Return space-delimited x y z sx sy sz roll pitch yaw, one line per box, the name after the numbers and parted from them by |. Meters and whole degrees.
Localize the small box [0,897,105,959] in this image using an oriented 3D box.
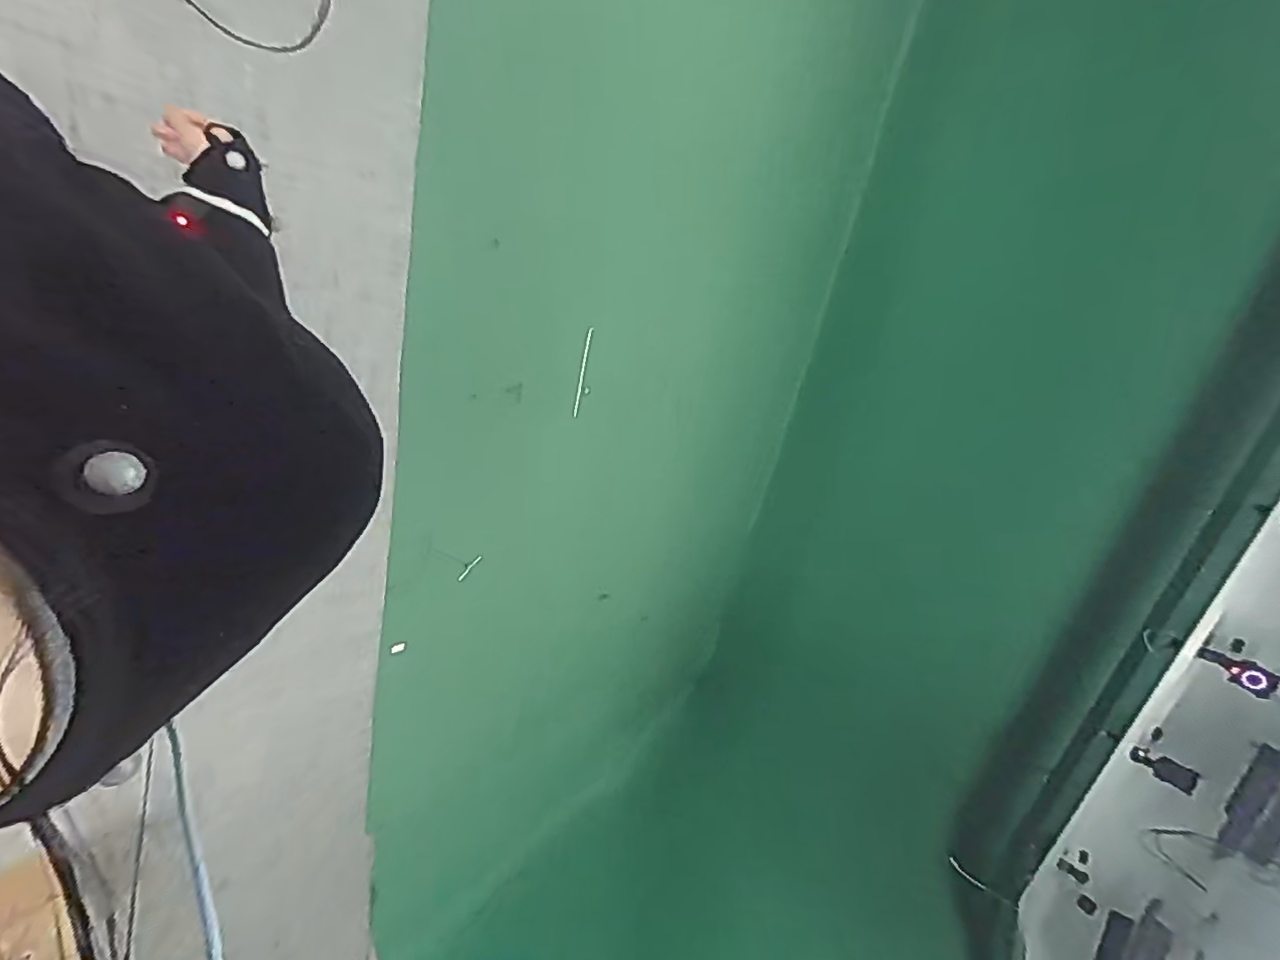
-1.329 1.094 1.202 0.179 0.176 0.168 -21 127 -49 | small box

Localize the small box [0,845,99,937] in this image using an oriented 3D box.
-1.453 1.040 1.296 0.179 0.176 0.168 -20 127 -50 | small box
